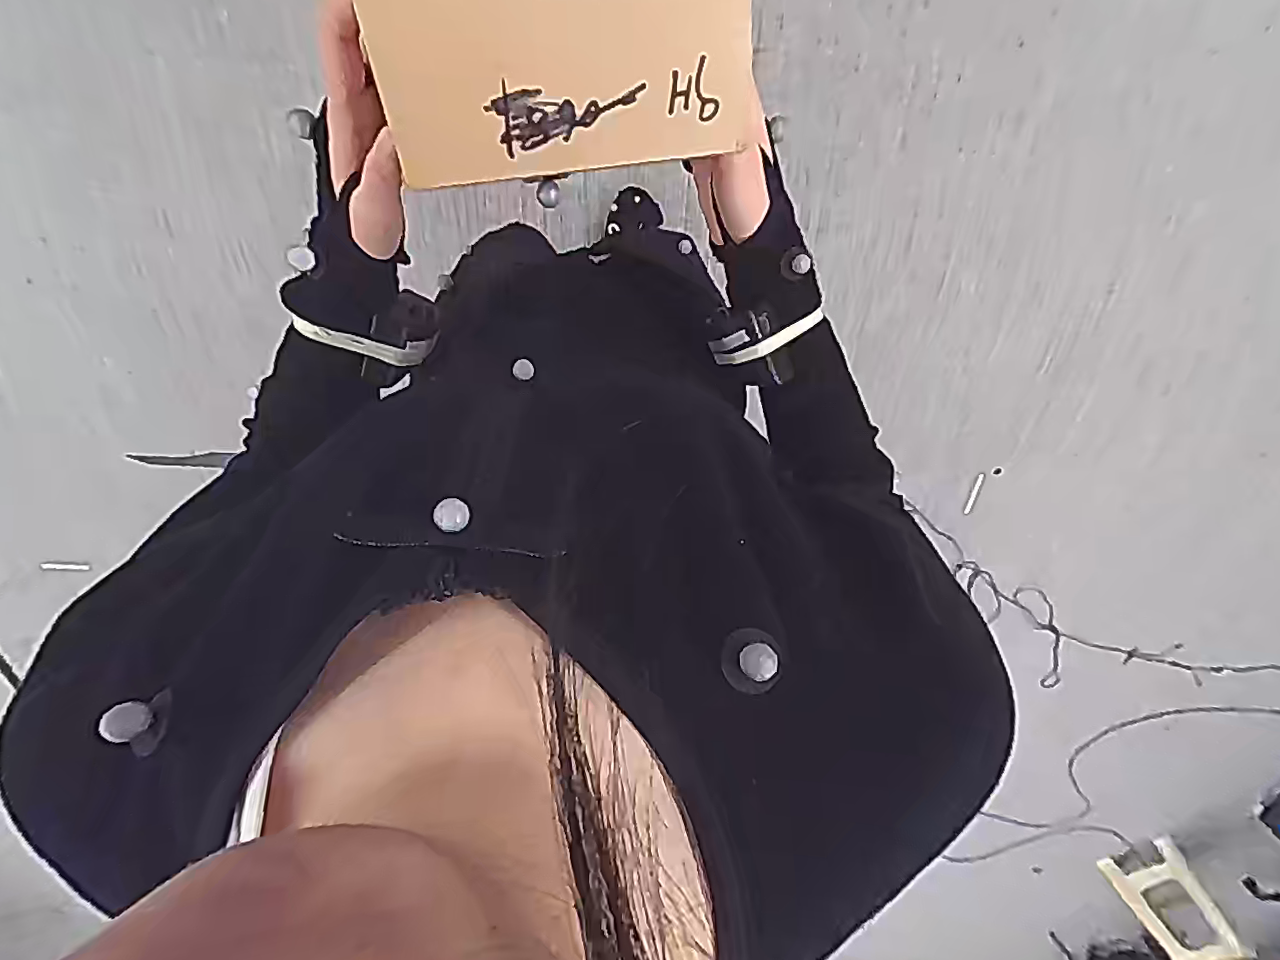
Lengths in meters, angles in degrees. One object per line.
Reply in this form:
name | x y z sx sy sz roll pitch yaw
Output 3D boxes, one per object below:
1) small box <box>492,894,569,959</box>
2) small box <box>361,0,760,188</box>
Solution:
small box | -0.264 1.156 1.325 0.168 0.176 0.179 4 118 -3
small box | -0.047 -0.257 0.275 0.168 0.176 0.179 -11 122 -6
